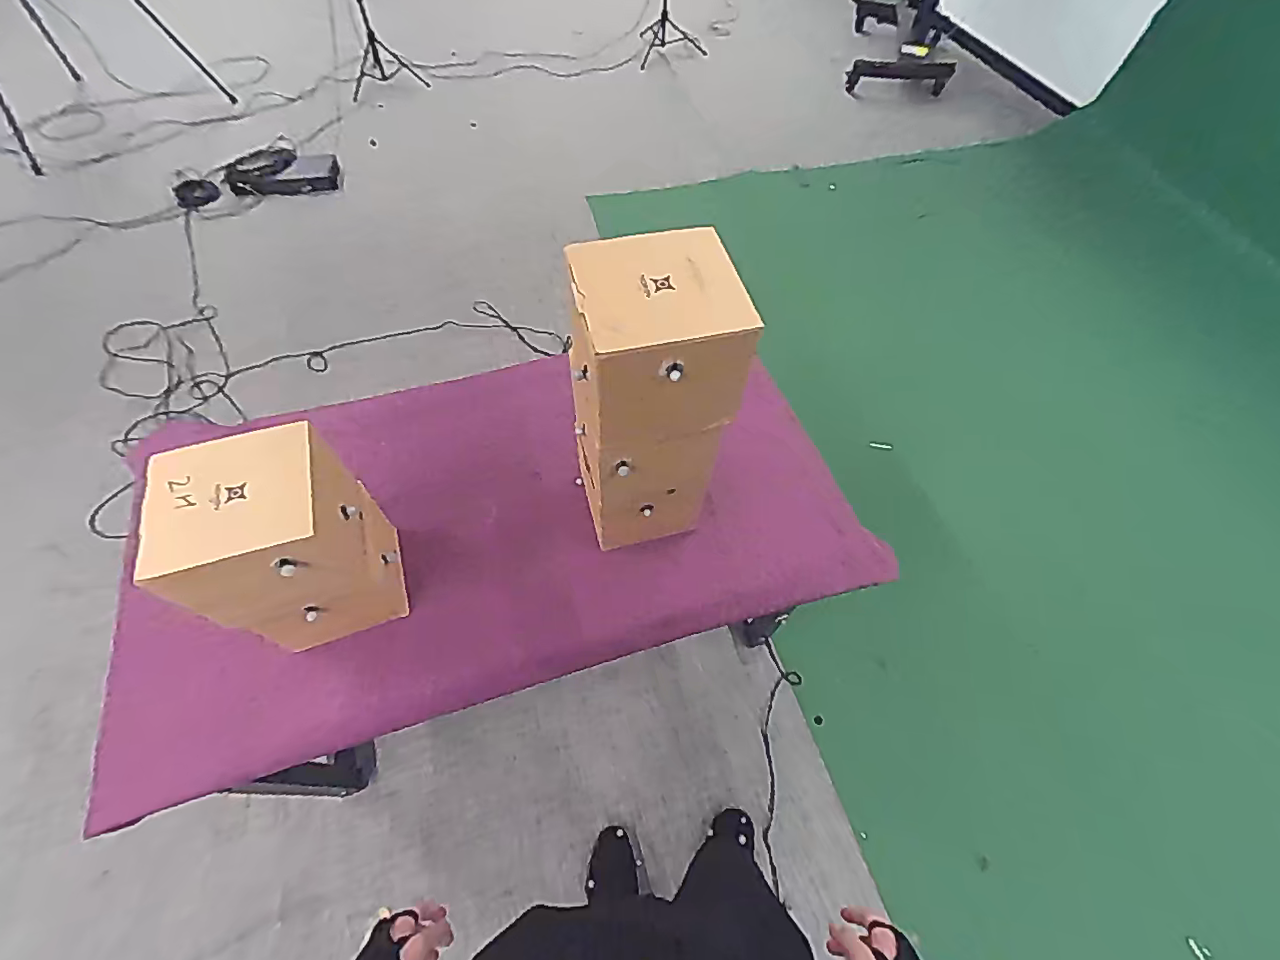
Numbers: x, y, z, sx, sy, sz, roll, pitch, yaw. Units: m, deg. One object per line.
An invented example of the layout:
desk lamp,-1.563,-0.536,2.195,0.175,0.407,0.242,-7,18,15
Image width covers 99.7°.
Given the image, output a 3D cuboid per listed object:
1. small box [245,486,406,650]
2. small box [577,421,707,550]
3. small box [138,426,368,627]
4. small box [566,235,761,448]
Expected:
small box,-0.470,0.137,0.819,0.179,0.176,0.168,-17,61,-12
small box,-0.001,0.001,0.920,0.179,0.176,0.168,-13,60,-10
small box,-0.456,0.062,0.672,0.179,0.176,0.168,-15,60,-11
small box,0.018,-0.155,0.633,0.179,0.176,0.168,-11,60,-9
